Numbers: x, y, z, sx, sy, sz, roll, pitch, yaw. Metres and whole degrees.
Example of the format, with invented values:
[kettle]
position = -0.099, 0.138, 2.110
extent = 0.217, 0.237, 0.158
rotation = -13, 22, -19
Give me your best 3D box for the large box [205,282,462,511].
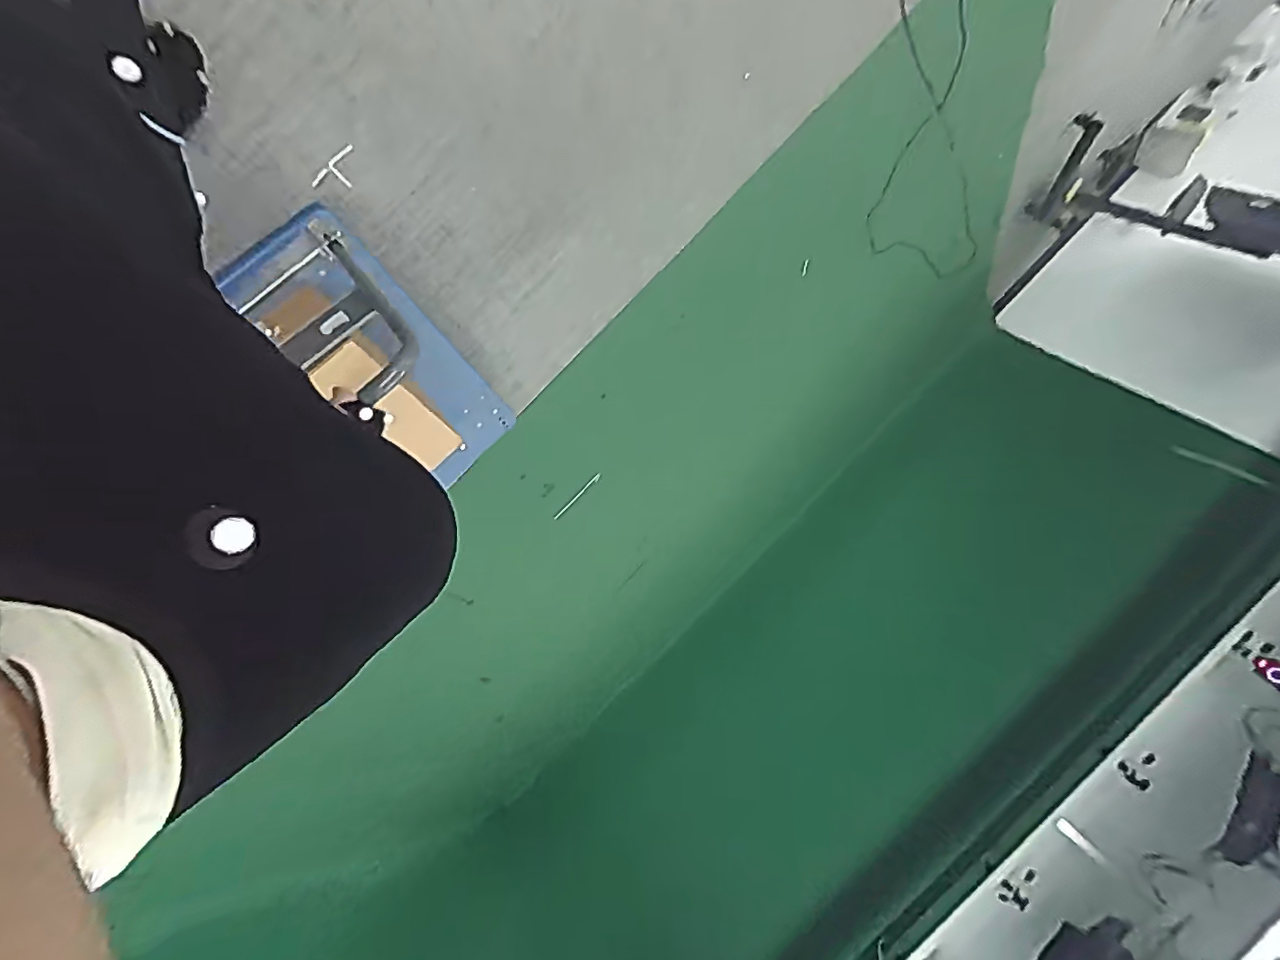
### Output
[large box]
position = -0.733, -0.193, 1.327
extent = 0.320, 0.320, 0.408
rotation = -42, 148, -5
